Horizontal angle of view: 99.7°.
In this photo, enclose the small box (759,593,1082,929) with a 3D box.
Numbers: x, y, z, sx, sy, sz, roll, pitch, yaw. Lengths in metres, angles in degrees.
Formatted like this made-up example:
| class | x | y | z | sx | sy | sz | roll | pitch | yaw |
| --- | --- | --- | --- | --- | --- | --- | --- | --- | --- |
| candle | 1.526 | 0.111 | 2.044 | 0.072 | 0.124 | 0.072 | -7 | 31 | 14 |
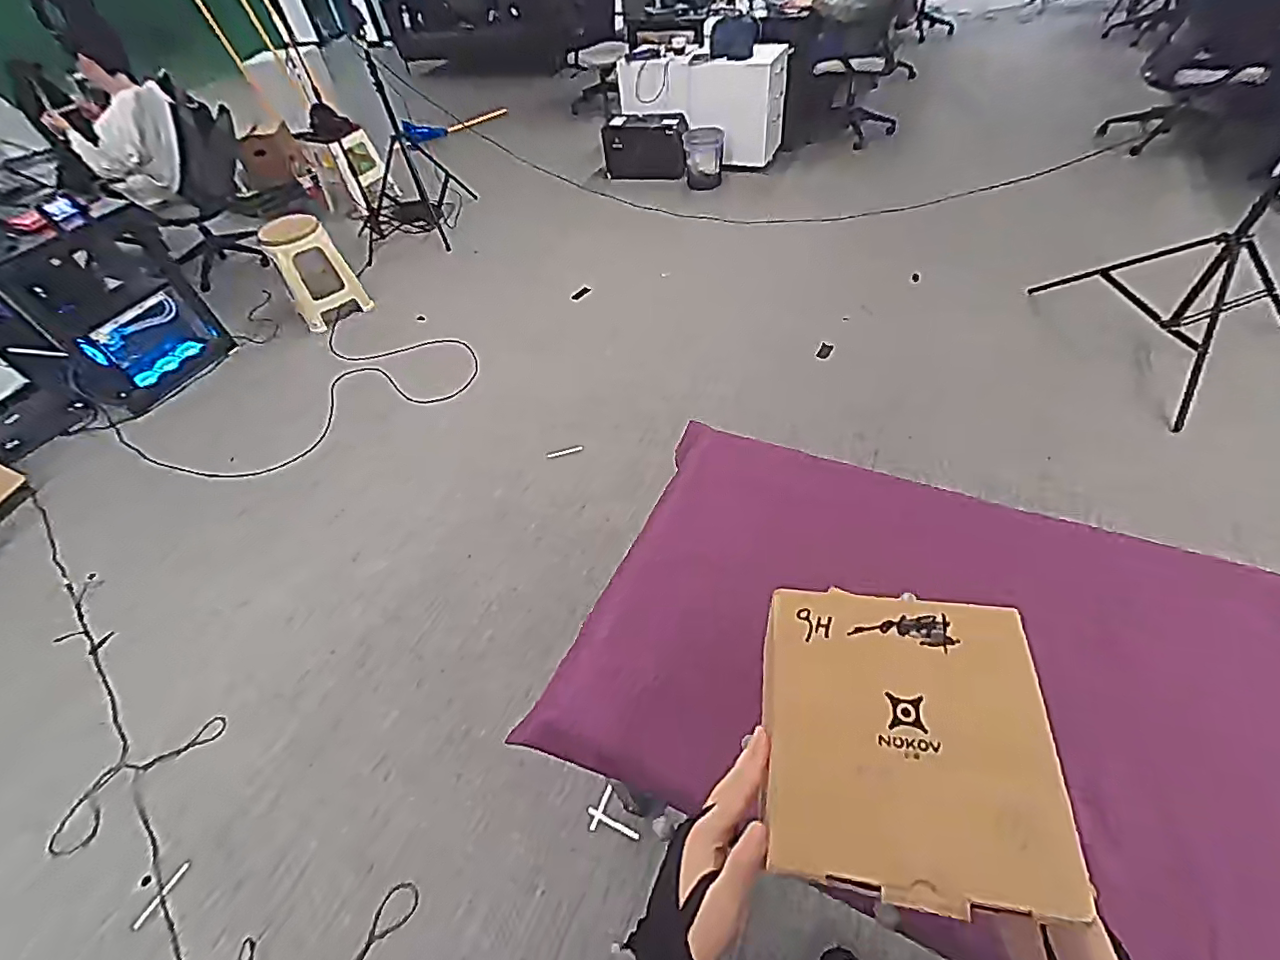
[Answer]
| class | x | y | z | sx | sy | sz | roll | pitch | yaw |
| --- | --- | --- | --- | --- | --- | --- | --- | --- | --- |
| small box | 0.180 | 0.206 | 0.411 | 0.168 | 0.176 | 0.179 | 3 | 55 | 11 |
